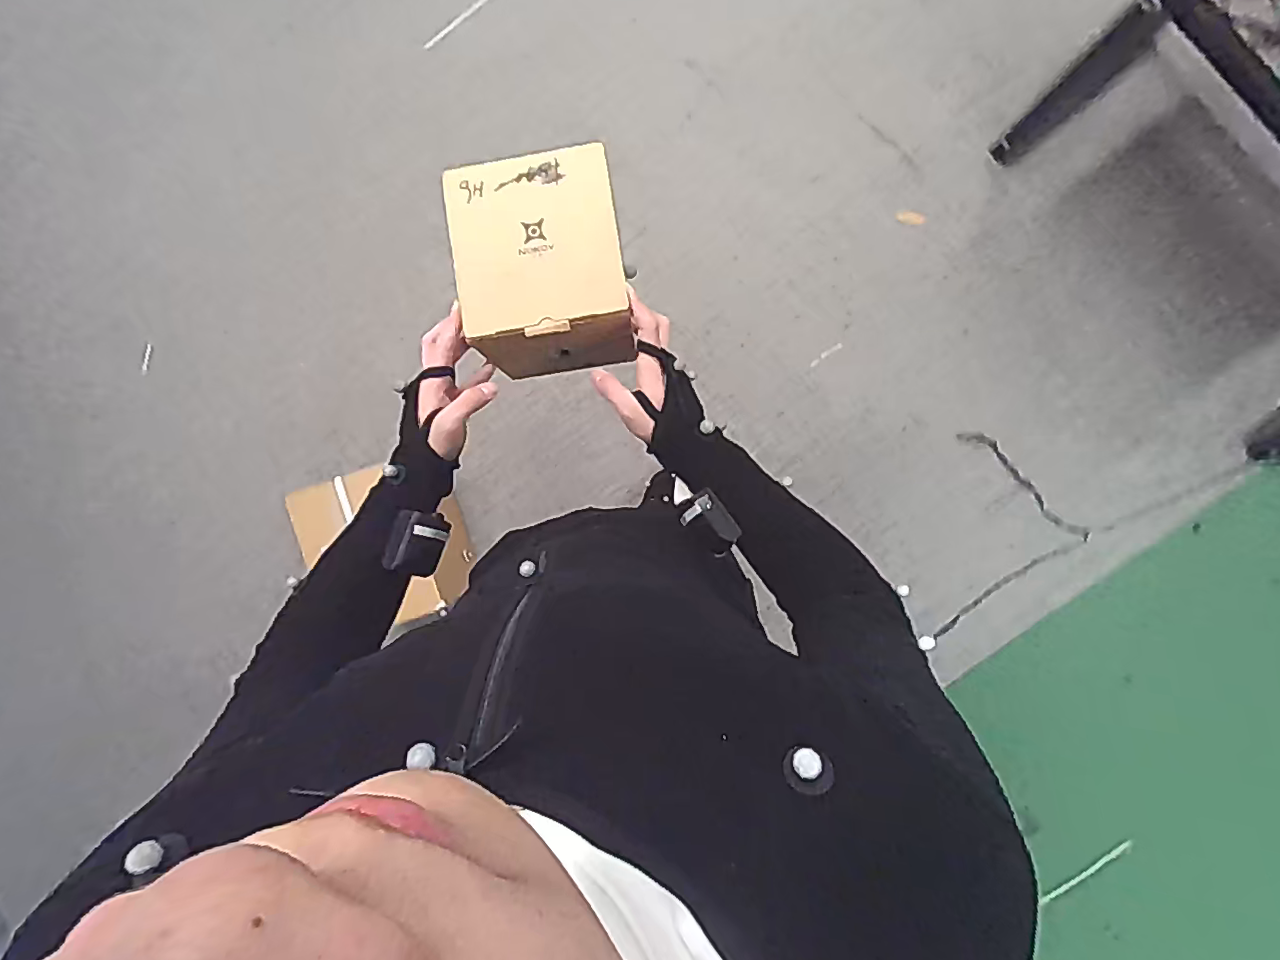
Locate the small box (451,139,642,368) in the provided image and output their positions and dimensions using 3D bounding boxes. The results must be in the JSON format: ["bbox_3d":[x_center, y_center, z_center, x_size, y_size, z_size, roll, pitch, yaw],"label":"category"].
[{"bbox_3d":[-0.090,-0.231,0.603,0.168,0.176,0.179,-8,88,2],"label":"small box"}]
